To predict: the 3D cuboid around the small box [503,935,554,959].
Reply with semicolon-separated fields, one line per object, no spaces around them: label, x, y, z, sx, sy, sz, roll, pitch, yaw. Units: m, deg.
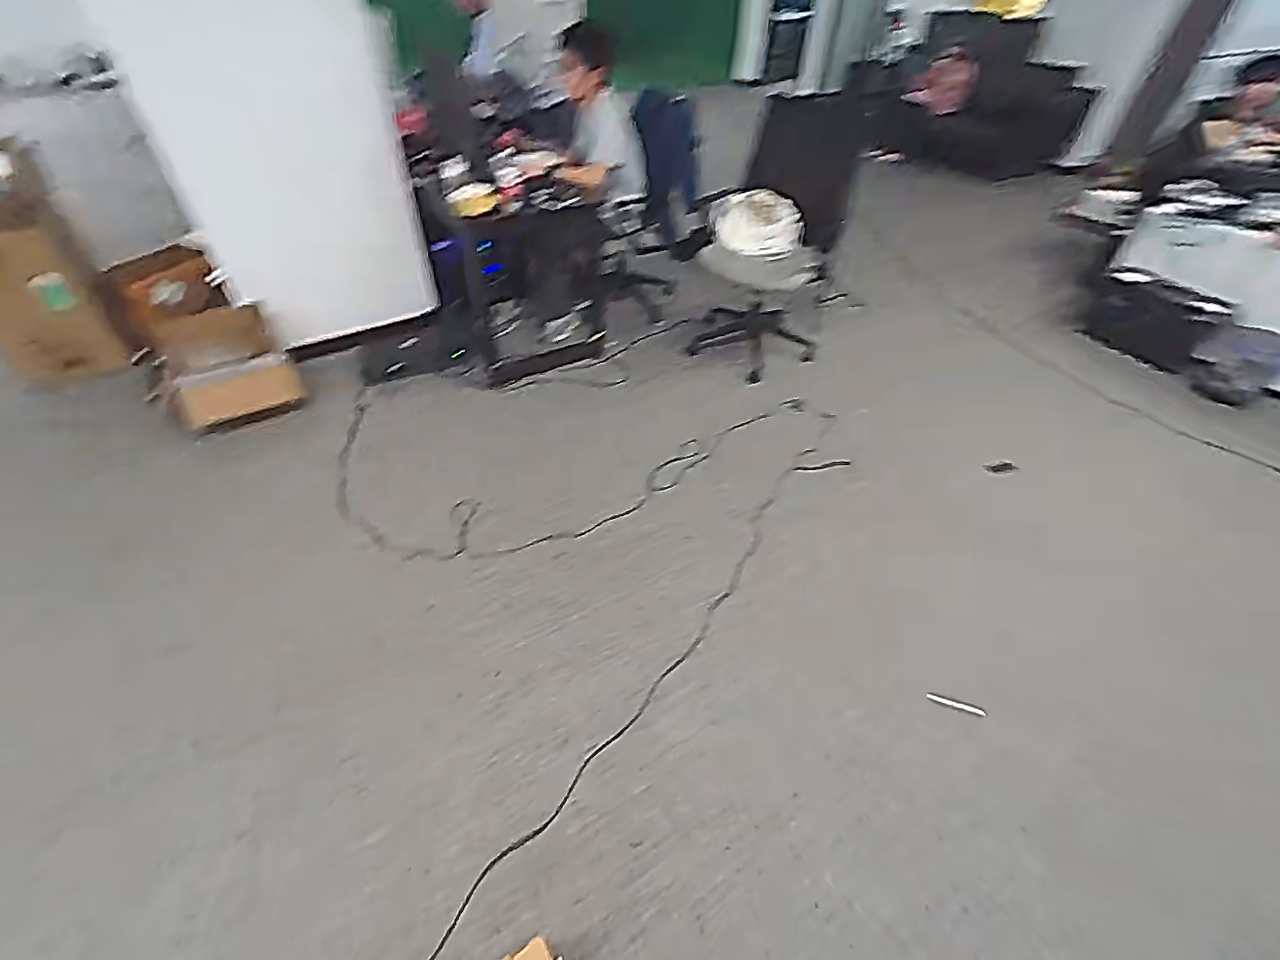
small box;-0.214;0.974;0.969;0.168;0.176;0.179;-22;50;-22
